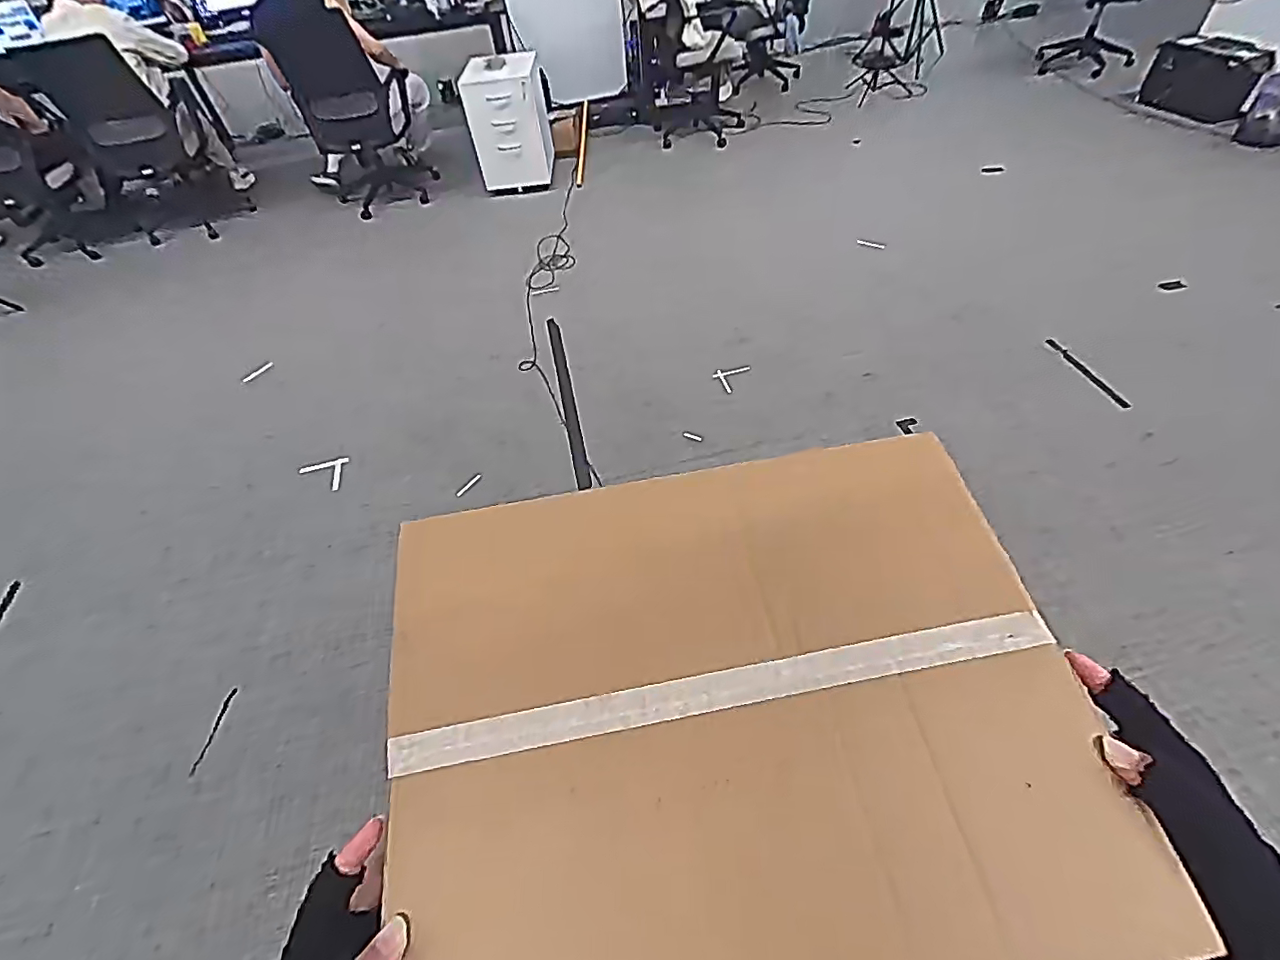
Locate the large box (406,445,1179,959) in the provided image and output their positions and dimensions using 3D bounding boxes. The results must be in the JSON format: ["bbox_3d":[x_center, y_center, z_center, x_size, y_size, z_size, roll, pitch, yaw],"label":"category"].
[{"bbox_3d":[0.060,0.213,0.466,0.408,0.320,0.320,-10,60,-3],"label":"large box"}]
